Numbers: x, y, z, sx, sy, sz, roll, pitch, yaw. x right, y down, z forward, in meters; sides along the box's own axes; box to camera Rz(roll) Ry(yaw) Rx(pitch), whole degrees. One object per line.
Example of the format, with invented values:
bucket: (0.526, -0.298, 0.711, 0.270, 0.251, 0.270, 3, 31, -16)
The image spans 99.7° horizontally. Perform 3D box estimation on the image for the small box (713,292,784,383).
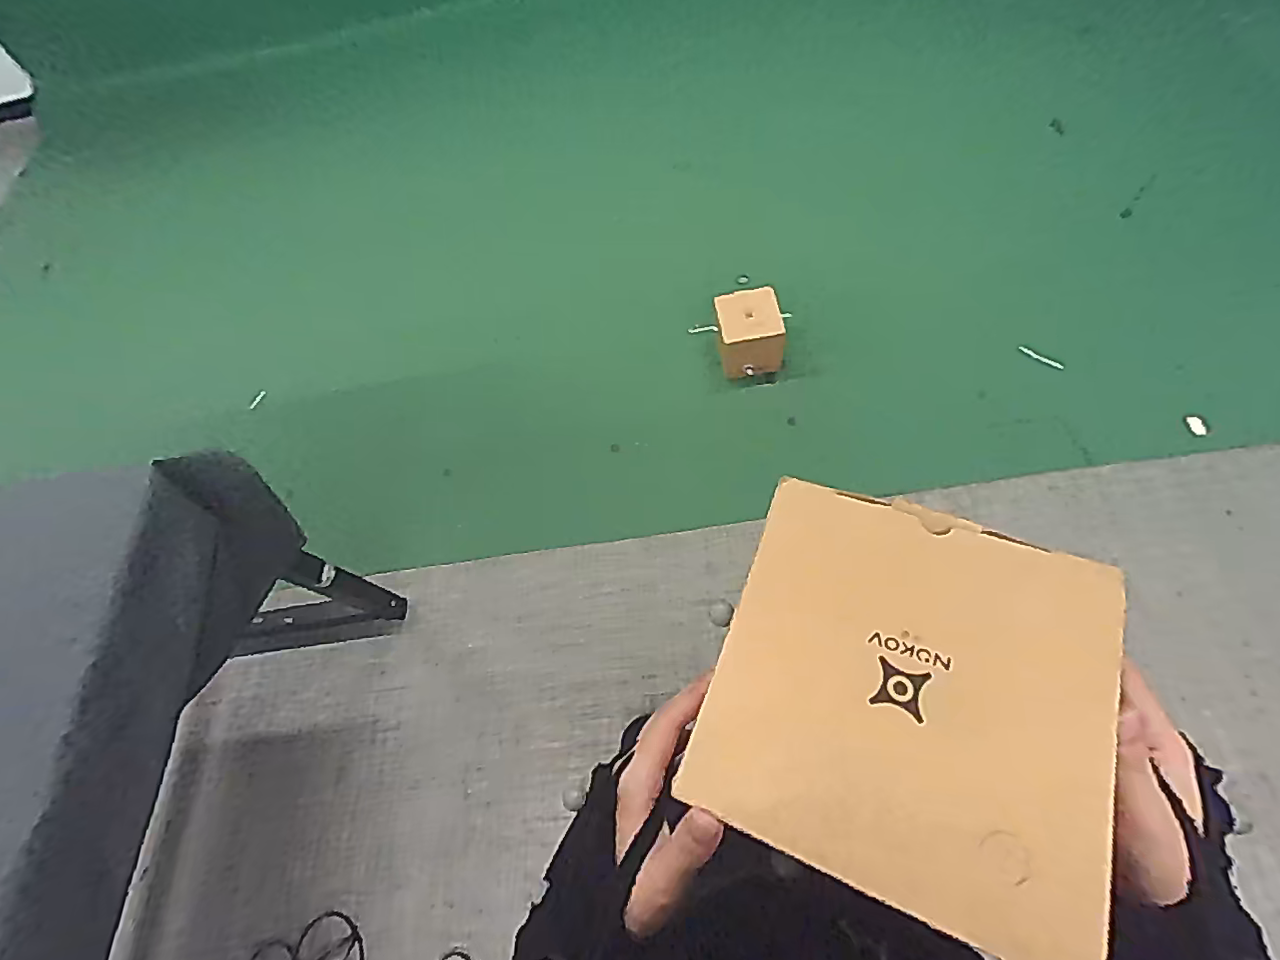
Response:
small box: (0.306, -0.406, 1.556, 0.168, 0.176, 0.179, -10, 63, 5)

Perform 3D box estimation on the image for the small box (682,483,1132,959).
small box: (0.140, 0.133, 0.318, 0.168, 0.176, 0.179, 17, 64, 20)
